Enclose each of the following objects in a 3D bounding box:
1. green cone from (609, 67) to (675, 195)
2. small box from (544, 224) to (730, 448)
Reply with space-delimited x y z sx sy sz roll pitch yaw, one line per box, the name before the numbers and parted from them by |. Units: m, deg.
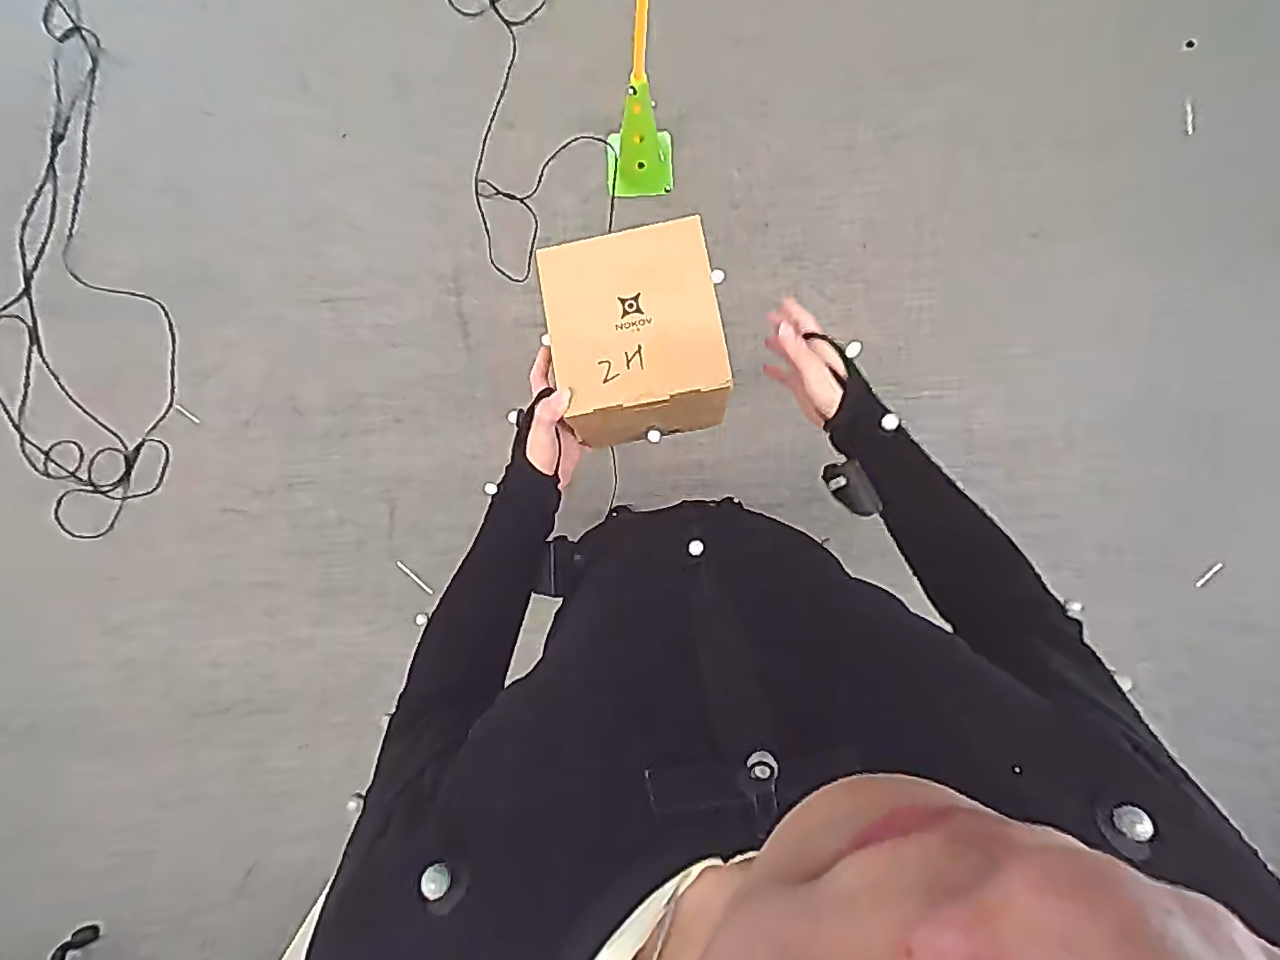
green cone | 0.000 -1.000 1.512 0.202 0.368 0.200 -3 87 2
small box | 0.001 -0.147 0.605 0.168 0.176 0.179 -10 82 4
